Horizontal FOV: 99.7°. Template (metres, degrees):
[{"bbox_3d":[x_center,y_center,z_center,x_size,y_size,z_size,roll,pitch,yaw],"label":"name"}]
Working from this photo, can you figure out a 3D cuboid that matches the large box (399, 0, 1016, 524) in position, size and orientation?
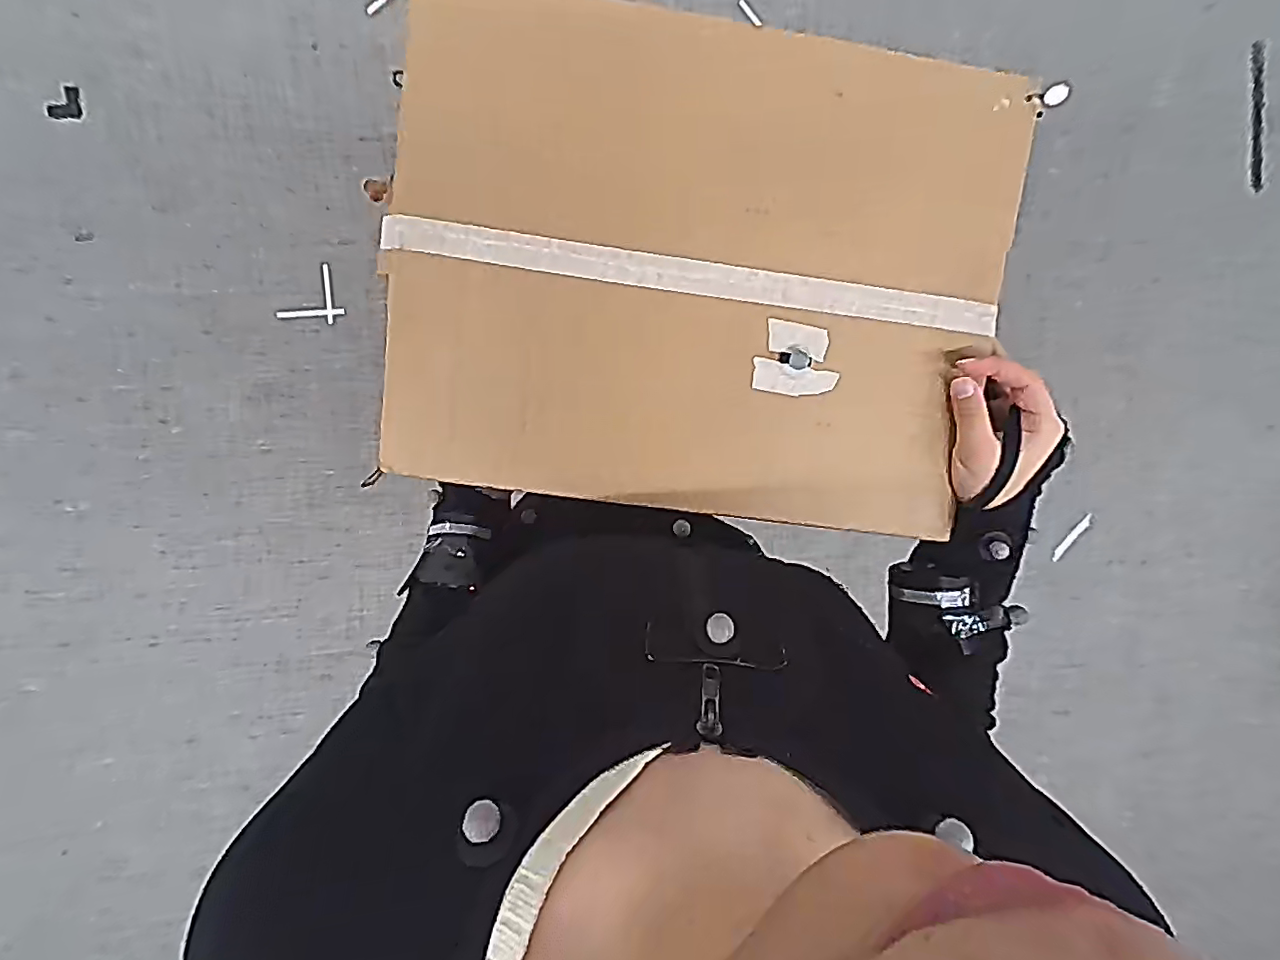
[{"bbox_3d":[0.033,-0.154,0.515,0.408,0.320,0.320,6,98,-5],"label":"large box"}]
